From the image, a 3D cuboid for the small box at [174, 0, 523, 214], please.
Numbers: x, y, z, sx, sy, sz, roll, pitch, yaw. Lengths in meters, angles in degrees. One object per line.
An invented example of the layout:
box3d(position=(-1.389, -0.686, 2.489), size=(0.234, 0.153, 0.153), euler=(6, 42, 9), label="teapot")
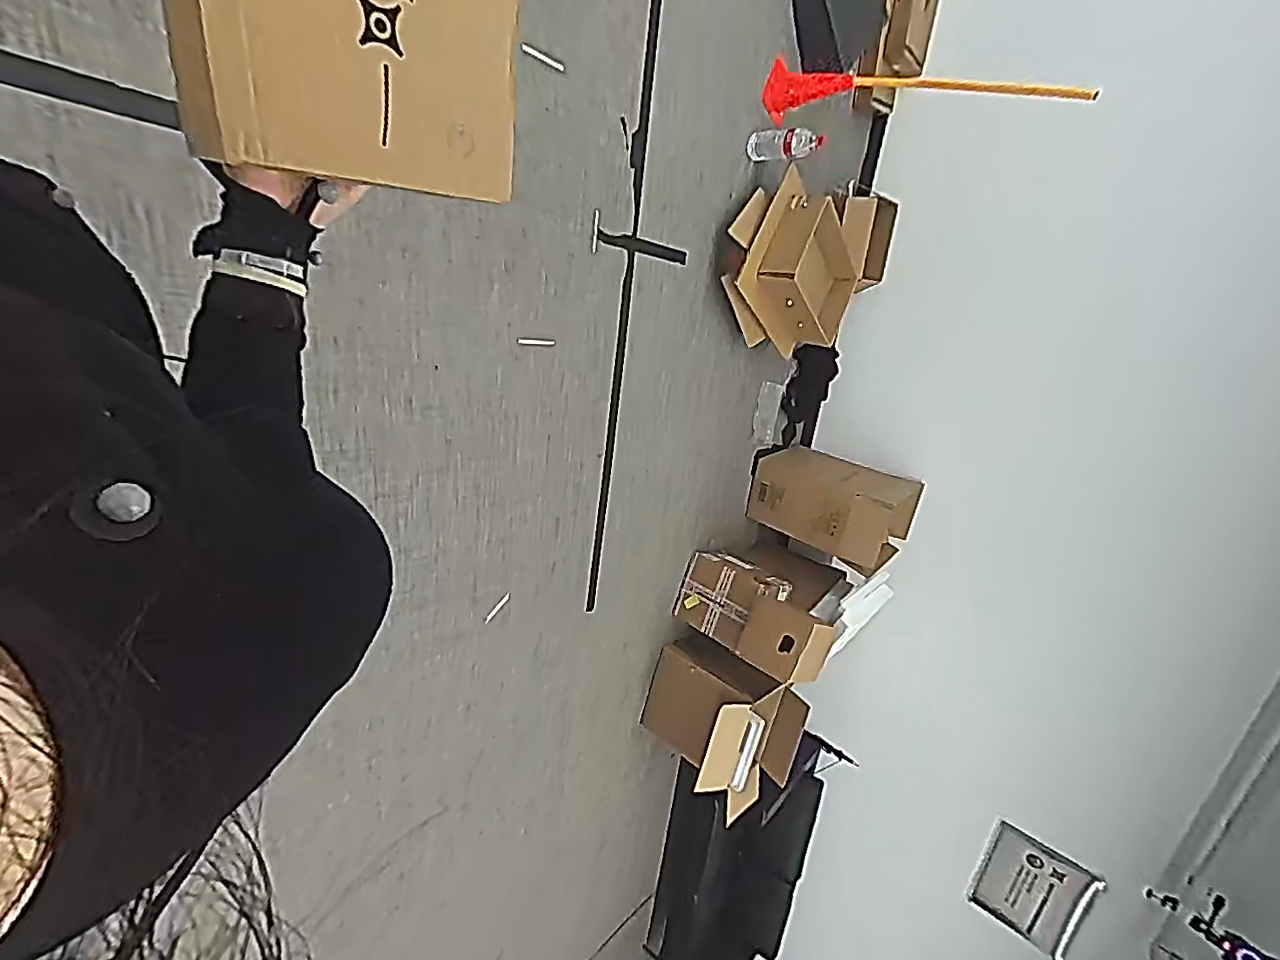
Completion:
box3d(position=(-0.193, -0.289, 0.356), size=(0.168, 0.176, 0.179), euler=(-13, 123, -40), label="small box")
